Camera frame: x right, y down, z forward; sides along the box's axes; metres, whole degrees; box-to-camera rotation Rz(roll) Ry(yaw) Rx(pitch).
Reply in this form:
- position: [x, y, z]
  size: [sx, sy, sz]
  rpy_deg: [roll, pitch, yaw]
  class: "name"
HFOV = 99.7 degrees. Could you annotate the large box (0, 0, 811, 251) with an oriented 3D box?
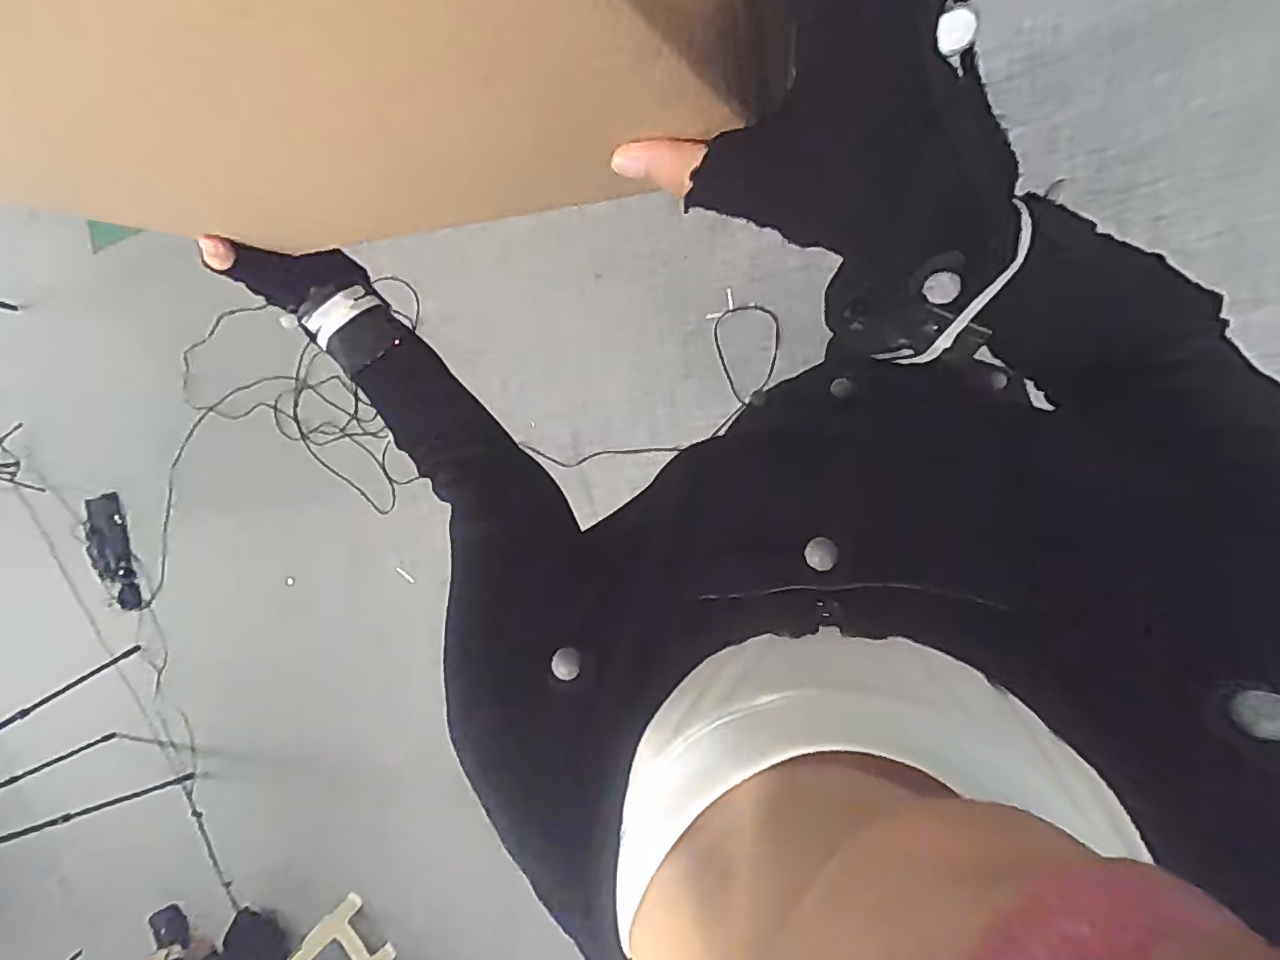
- position: [-0.175, -0.288, 0.176]
  size: [0.408, 0.320, 0.320]
  rpy_deg: [7, 103, 31]
  class: "large box"
